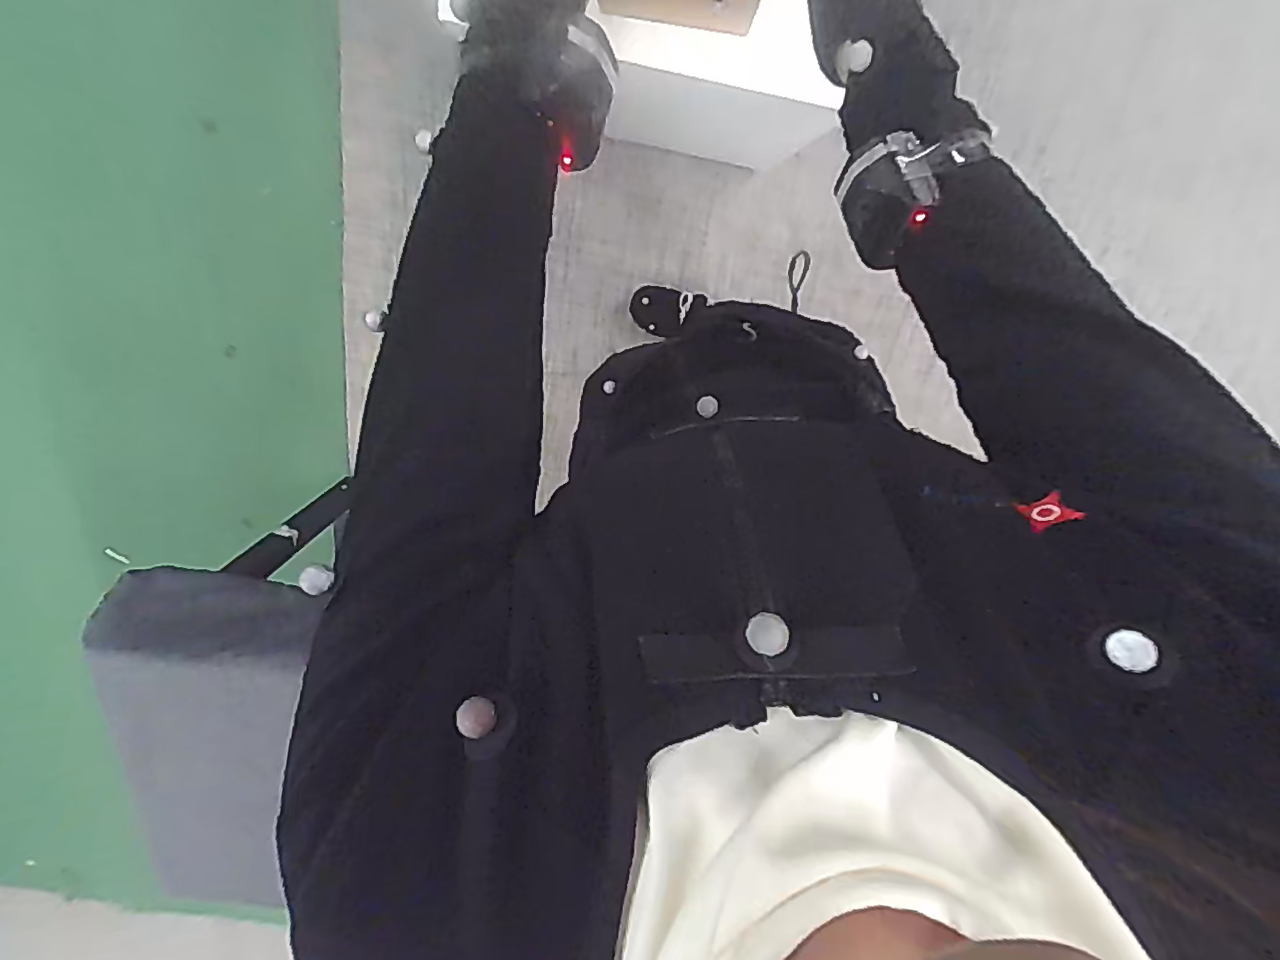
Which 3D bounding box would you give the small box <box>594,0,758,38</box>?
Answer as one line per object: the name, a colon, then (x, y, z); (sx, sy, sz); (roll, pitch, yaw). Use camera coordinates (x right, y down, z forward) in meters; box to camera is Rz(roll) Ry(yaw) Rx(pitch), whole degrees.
small box: (0.044, -0.559, 0.516); (0.179, 0.176, 0.168); (8, 111, 0)
